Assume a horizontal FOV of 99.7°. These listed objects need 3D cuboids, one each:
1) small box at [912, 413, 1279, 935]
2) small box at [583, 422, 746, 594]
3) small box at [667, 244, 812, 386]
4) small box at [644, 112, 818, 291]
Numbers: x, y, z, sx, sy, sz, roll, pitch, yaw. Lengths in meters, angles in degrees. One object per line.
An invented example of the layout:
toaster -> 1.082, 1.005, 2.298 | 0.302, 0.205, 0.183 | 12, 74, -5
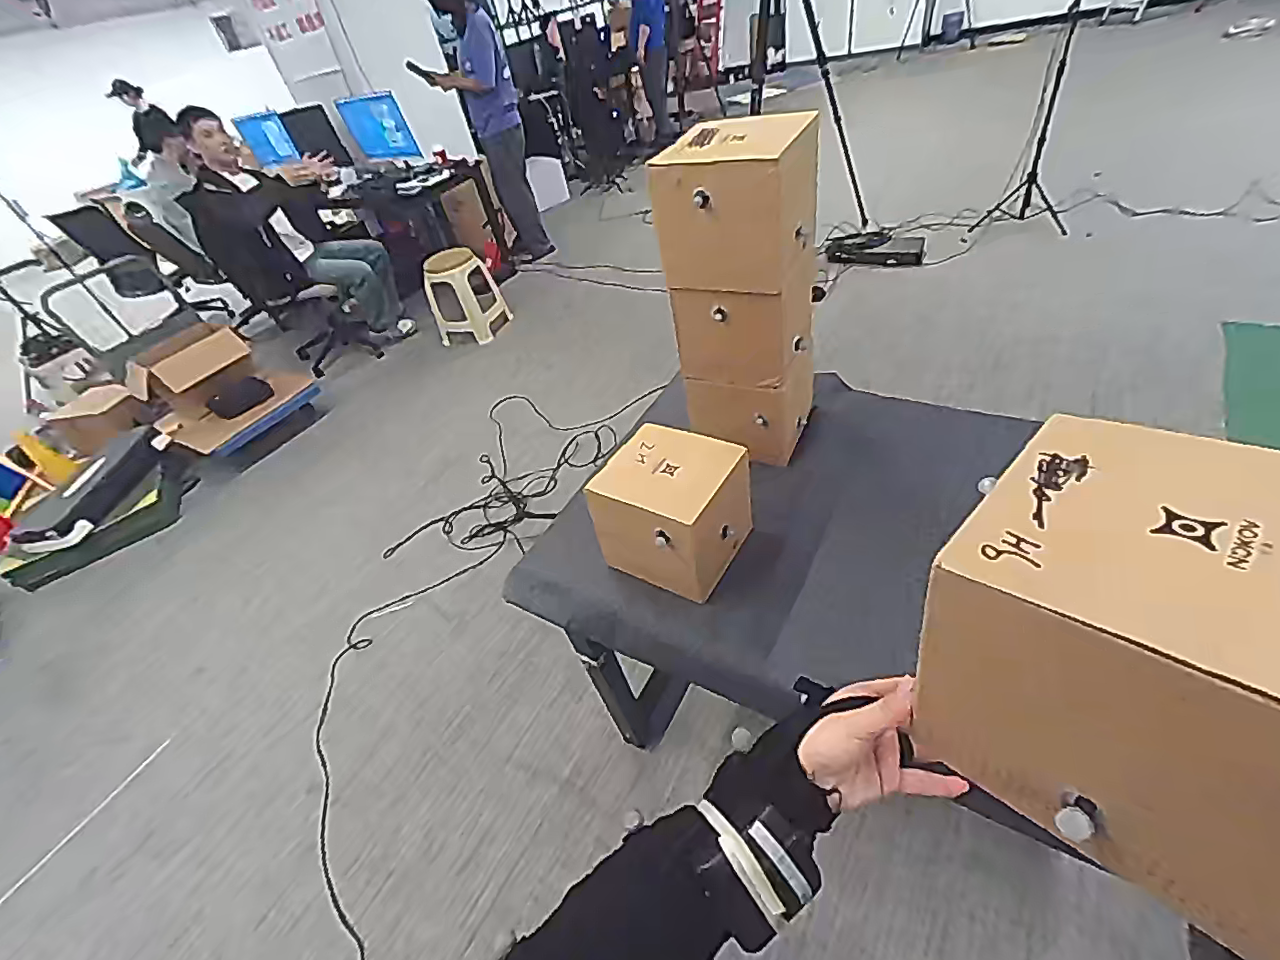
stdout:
small box -> 0.274, 0.092, 0.291 | 0.168, 0.176, 0.179 | -36, 41, -28
small box -> 0.047, 0.043, 0.800 | 0.179, 0.176, 0.168 | 17, 49, 30
small box -> 0.164, -0.268, 0.861 | 0.179, 0.176, 0.168 | 13, 52, 25
small box -> 0.131, -0.376, 0.741 | 0.179, 0.176, 0.168 | 15, 52, 27
